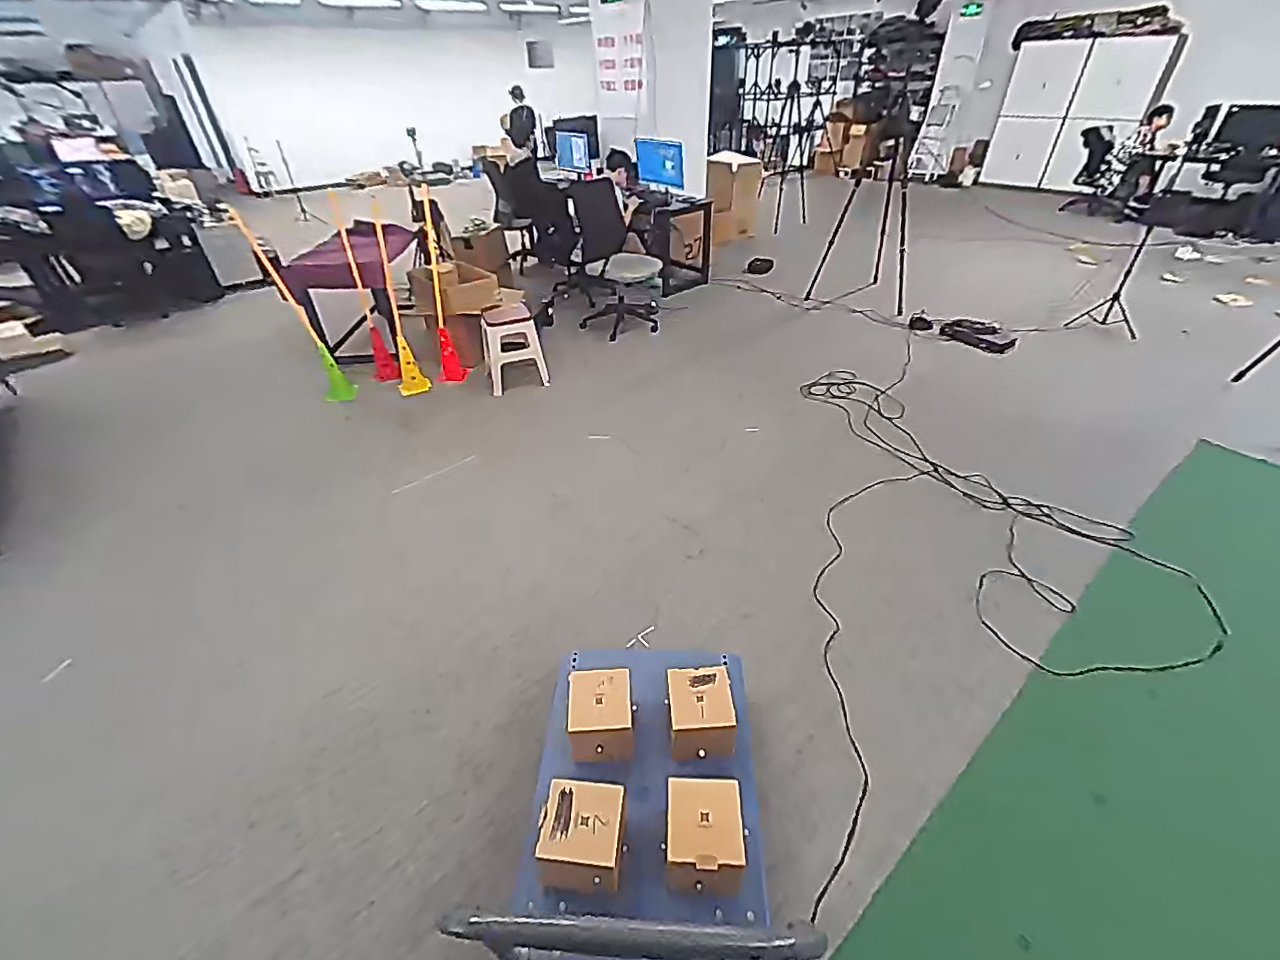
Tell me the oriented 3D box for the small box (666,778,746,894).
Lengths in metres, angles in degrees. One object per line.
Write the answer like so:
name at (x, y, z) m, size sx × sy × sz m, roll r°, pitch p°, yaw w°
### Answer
small box at (0.145, 0.820, 1.248) m, size 0.168 × 0.176 × 0.179 m, roll 1°, pitch 38°, yaw 3°

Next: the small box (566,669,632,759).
small box at (-0.107, 0.645, 1.483) m, size 0.168 × 0.176 × 0.179 m, roll -2°, pitch 37°, yaw -2°

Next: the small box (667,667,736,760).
small box at (0.162, 0.639, 1.481) m, size 0.168 × 0.176 × 0.179 m, roll -3°, pitch 38°, yaw -1°
